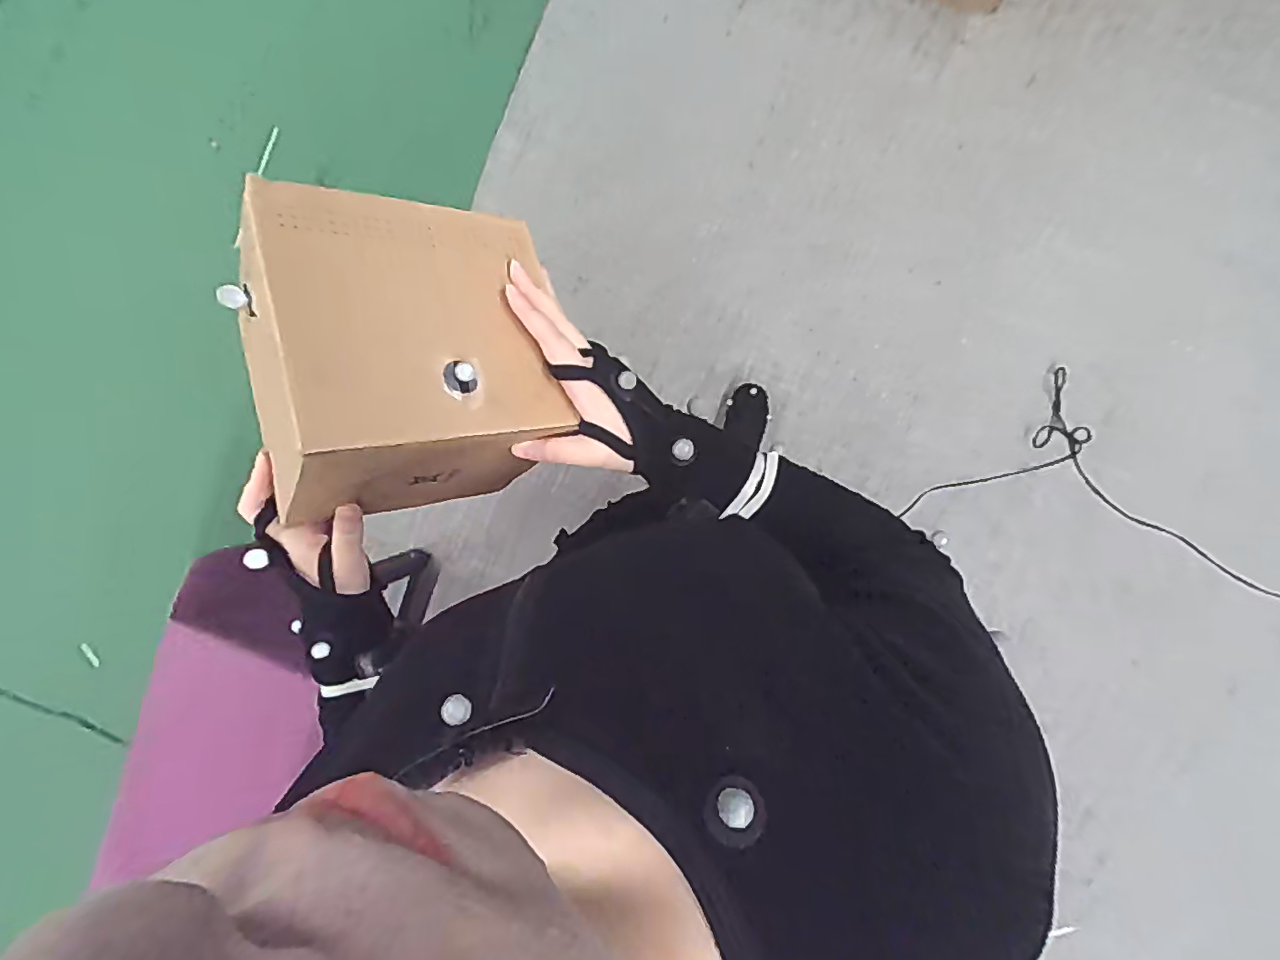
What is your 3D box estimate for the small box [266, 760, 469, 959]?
[{"bbox_3d":[-0.363,0.536,0.755,0.168,0.176,0.179,23,96,7],"label":"small box"}]
